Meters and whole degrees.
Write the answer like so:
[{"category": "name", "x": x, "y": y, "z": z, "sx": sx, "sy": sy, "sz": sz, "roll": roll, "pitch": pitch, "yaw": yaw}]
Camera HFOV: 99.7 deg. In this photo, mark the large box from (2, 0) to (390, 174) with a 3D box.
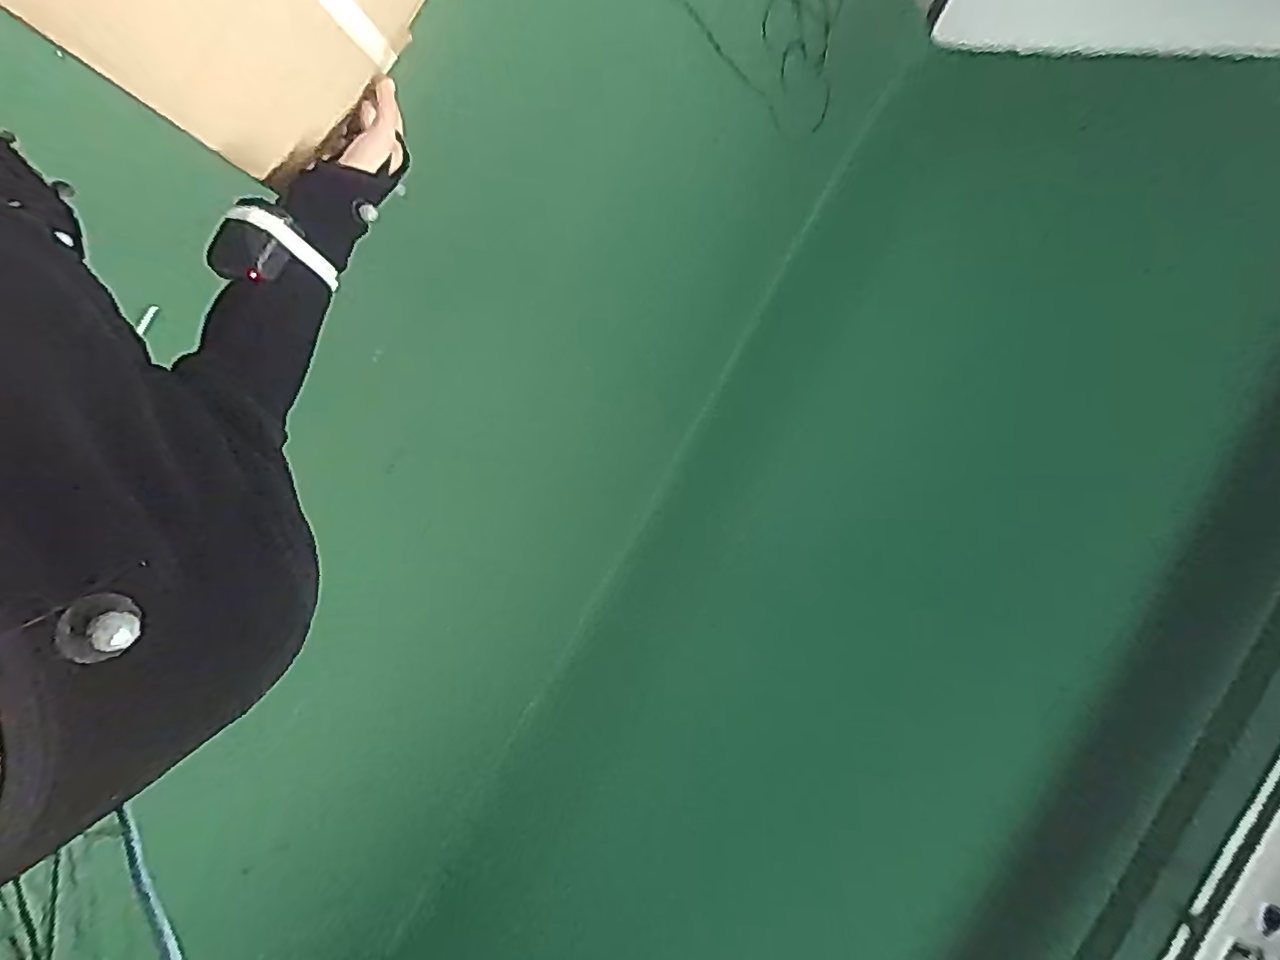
[{"category": "large box", "x": -0.431, "y": -0.522, "z": 0.379, "sx": 0.320, "sy": 0.320, "sz": 0.408, "roll": -54, "pitch": 154, "yaw": 6}]
